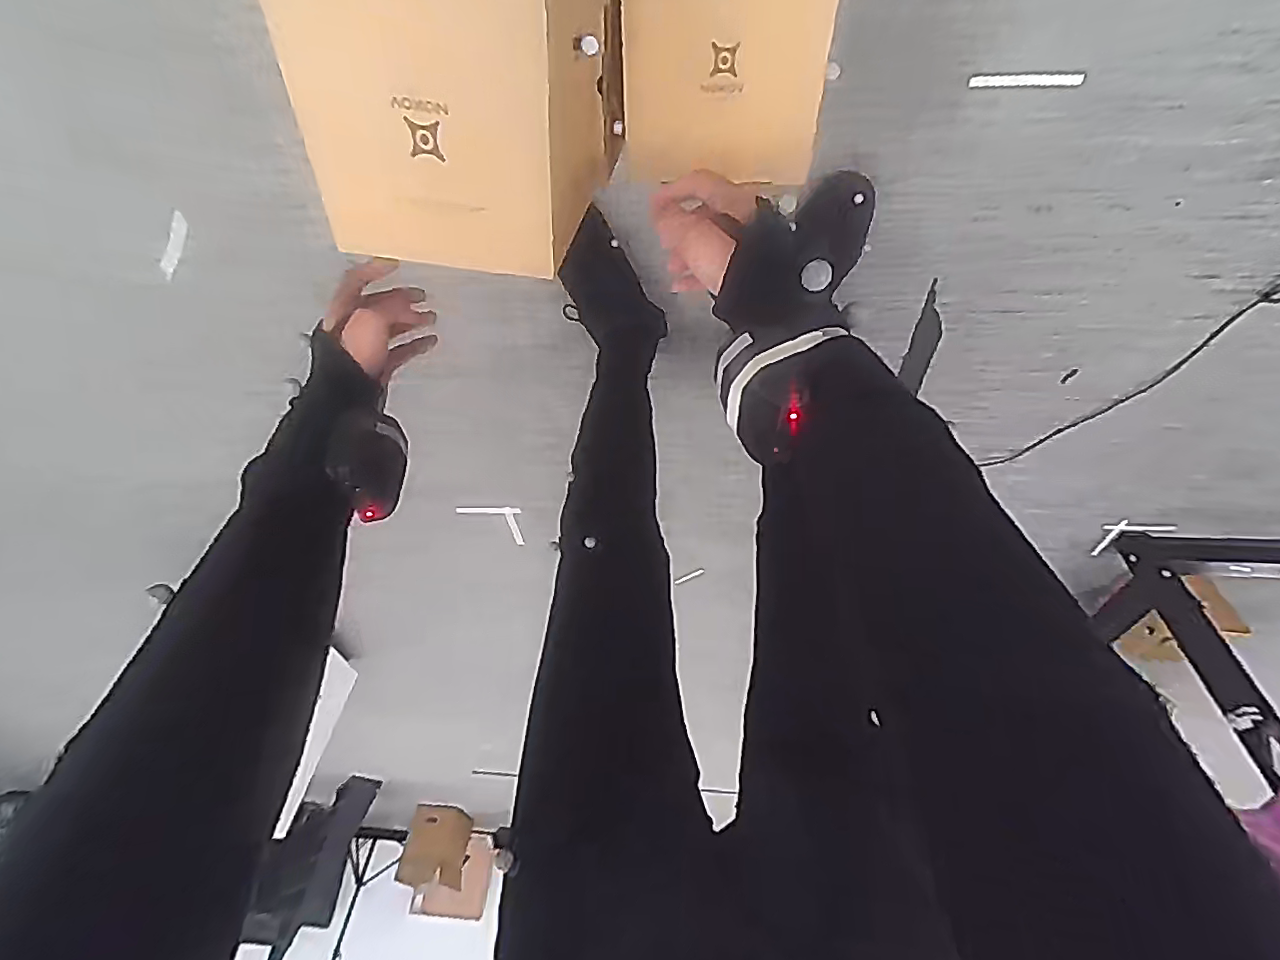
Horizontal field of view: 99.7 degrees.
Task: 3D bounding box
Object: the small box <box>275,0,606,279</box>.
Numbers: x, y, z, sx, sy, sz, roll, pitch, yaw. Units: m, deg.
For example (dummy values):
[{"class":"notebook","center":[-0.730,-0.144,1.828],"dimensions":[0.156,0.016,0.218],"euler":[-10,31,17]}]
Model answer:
[{"class":"small box","center":[-0.120,-0.277,0.394],"dimensions":[0.168,0.176,0.179],"euler":[9,137,0]}]
